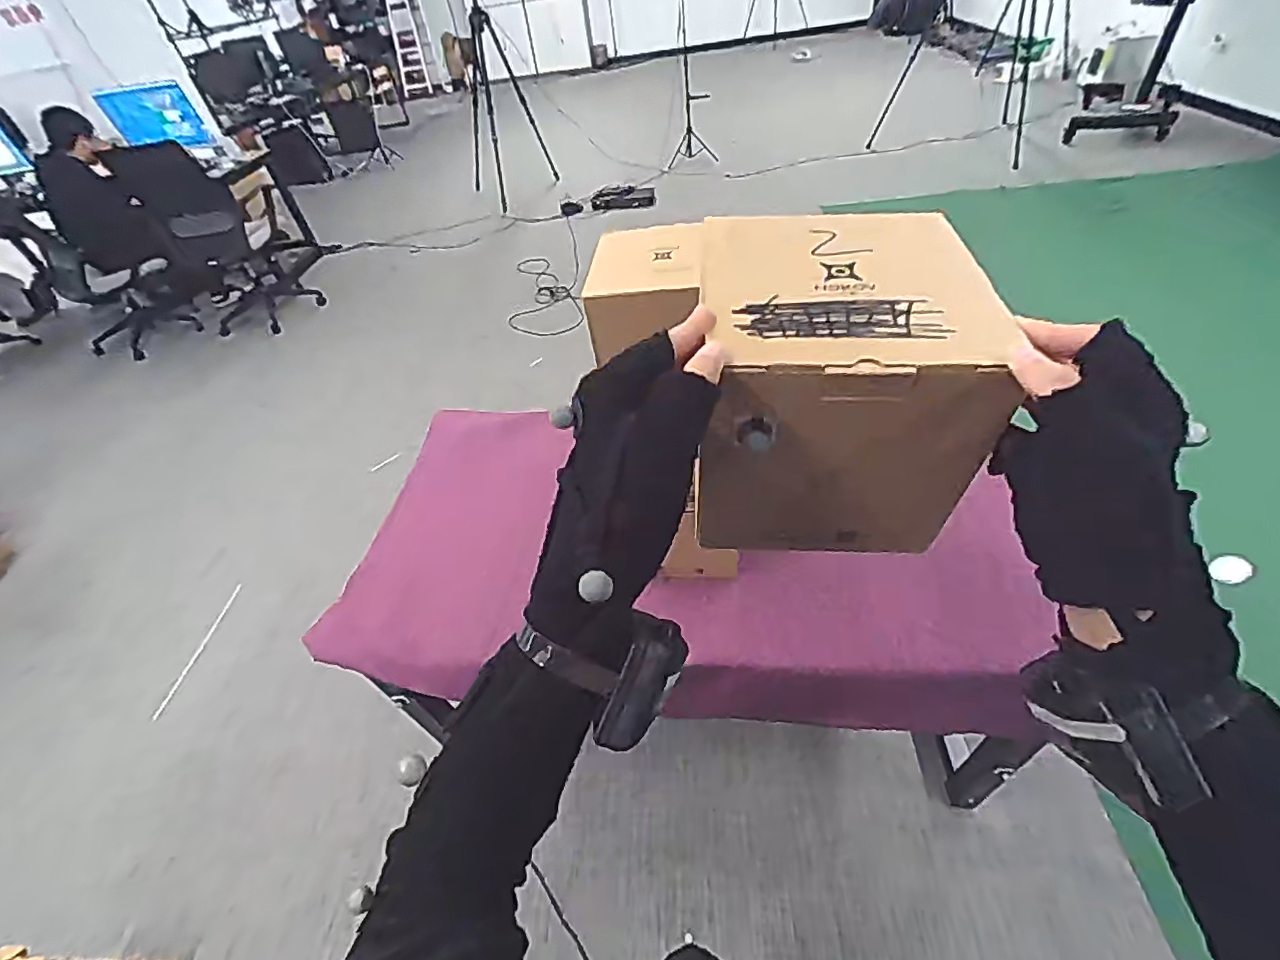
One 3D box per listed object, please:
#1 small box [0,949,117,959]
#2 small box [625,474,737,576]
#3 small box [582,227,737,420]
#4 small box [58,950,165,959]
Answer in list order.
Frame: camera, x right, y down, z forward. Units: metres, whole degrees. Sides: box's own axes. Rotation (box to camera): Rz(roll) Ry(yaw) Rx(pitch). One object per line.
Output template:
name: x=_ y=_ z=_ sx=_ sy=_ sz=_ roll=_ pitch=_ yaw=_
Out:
small box: x=-1.134 y=0.978 z=0.983 sx=0.168 sy=0.176 sz=0.179 roll=-3 pitch=45 yaw=7
small box: x=0.077 y=0.045 z=0.898 sx=0.168 sy=0.176 sz=0.179 roll=-1 pitch=45 yaw=9
small box: x=0.036 y=-0.194 z=0.678 sx=0.168 sy=0.176 sz=0.179 roll=-2 pitch=45 yaw=9
small box: x=-1.111 y=1.084 z=1.106 sx=0.179 sy=0.176 sz=0.168 roll=-4 pitch=45 yaw=7
